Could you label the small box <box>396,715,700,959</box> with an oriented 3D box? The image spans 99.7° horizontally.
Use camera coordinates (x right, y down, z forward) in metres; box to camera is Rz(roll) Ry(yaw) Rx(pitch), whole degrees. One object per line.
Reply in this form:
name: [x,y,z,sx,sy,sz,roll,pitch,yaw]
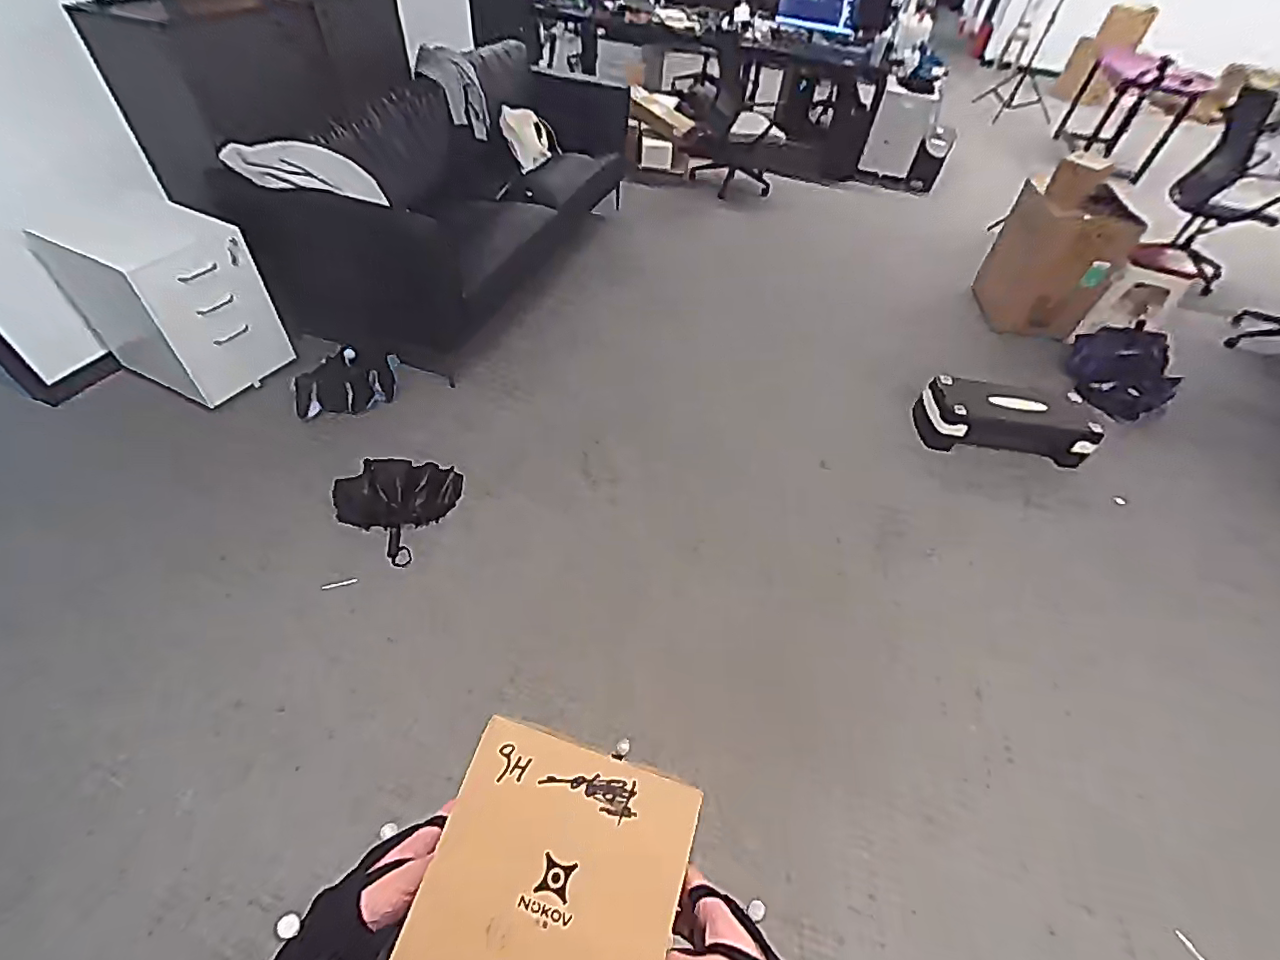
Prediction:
small box: [-0.060,0.305,0.432,0.168,0.176,0.179,16,65,5]
